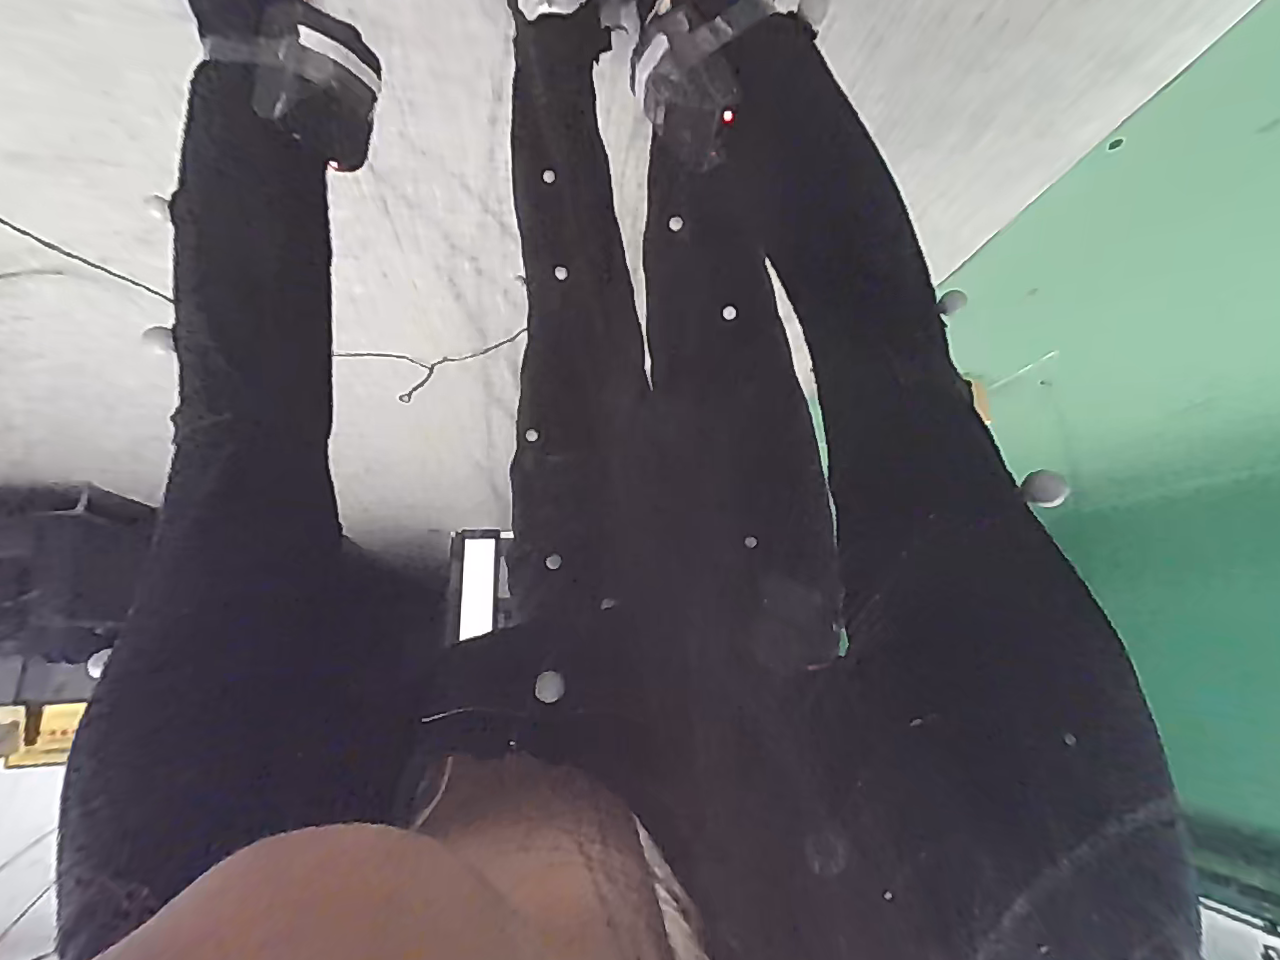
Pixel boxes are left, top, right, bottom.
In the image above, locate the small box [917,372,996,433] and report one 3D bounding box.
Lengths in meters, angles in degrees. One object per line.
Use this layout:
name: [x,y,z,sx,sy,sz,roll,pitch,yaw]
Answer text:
small box: [1.155,-0.285,1.988,0.179,0.176,0.168,0,164,-12]
